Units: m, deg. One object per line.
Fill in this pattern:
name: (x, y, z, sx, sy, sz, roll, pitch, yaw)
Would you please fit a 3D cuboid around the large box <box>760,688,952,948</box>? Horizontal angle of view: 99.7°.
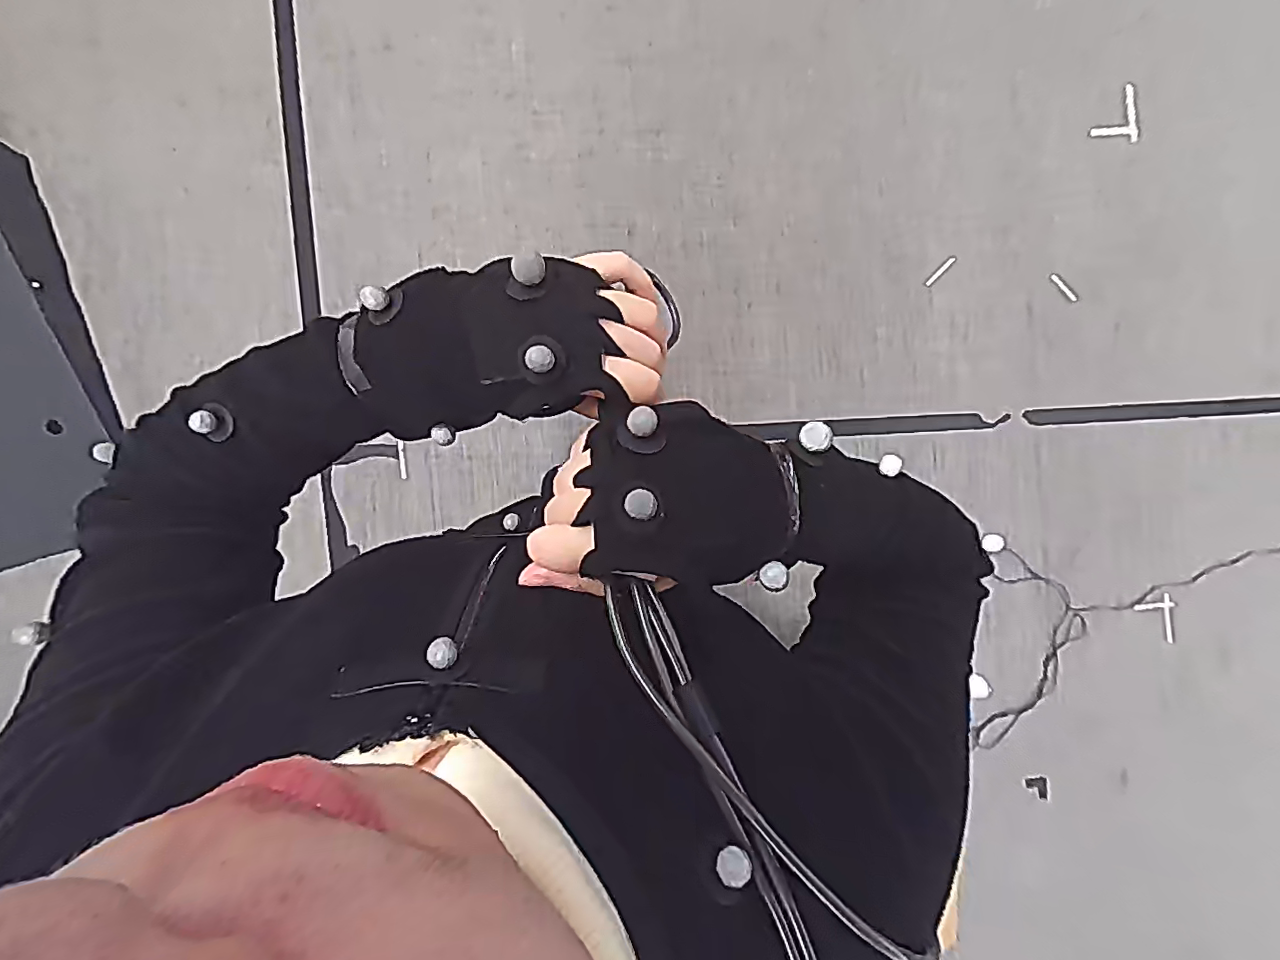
large box: (0.471, 0.739, 1.244, 0.320, 0.320, 0.408, 1, 92, -5)
